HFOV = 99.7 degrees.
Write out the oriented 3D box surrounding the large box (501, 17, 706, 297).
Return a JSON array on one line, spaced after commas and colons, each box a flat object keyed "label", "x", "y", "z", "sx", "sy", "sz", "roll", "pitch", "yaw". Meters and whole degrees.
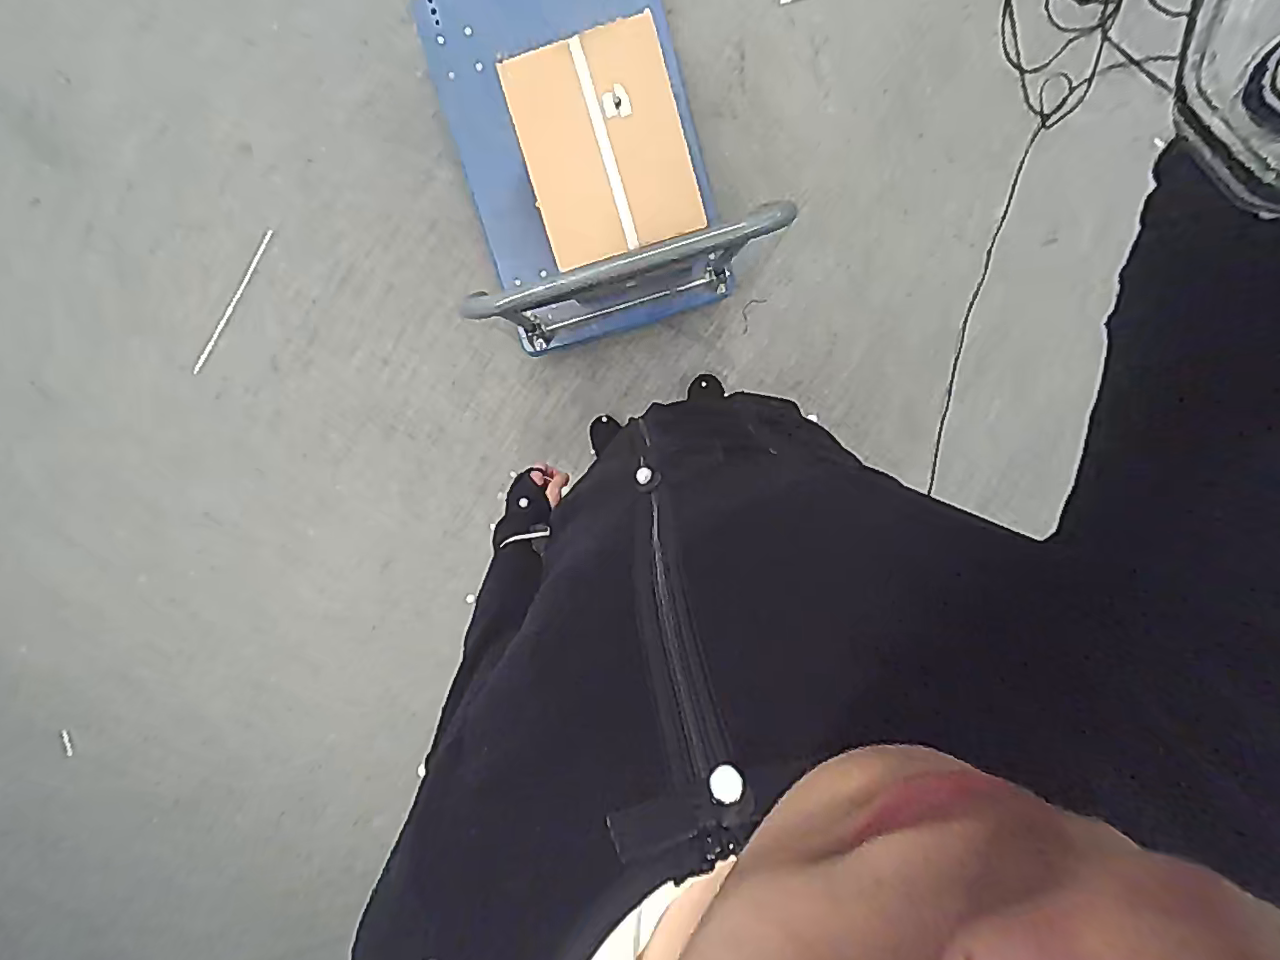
[{"label": "large box", "x": -0.066, "y": -0.678, "z": 1.215, "sx": 0.320, "sy": 0.320, "sz": 0.408, "roll": -16, "pitch": 97, "yaw": 2}]
